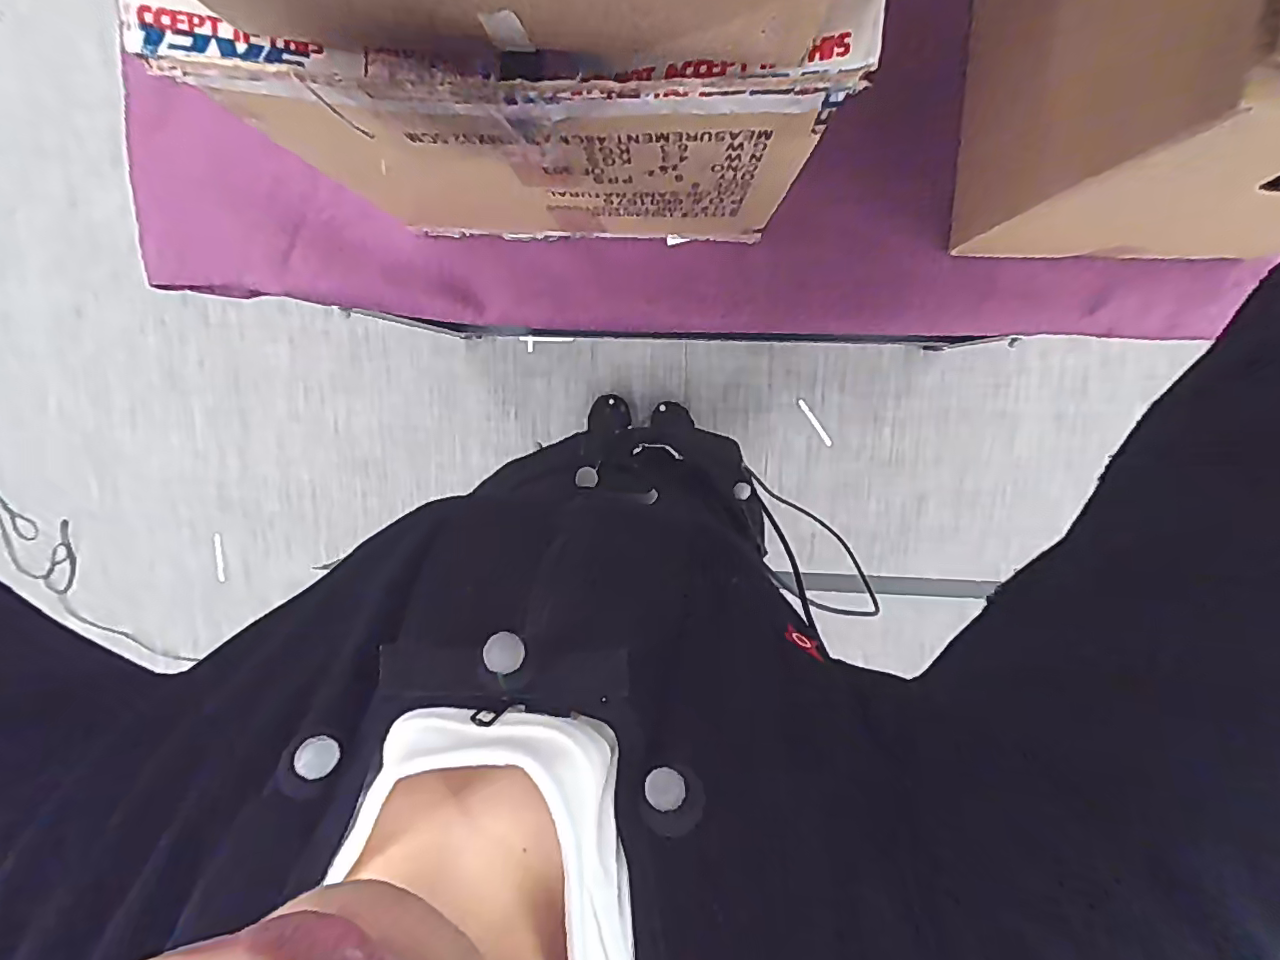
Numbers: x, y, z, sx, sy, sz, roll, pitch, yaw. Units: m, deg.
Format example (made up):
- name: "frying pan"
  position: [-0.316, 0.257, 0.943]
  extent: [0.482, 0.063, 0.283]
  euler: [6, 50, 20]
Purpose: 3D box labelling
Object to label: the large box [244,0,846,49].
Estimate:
- name: "large box"
  position: [-0.048, -0.395, 0.099]
  extent: [0.320, 0.320, 0.408]
  euler: [4, 103, 3]
